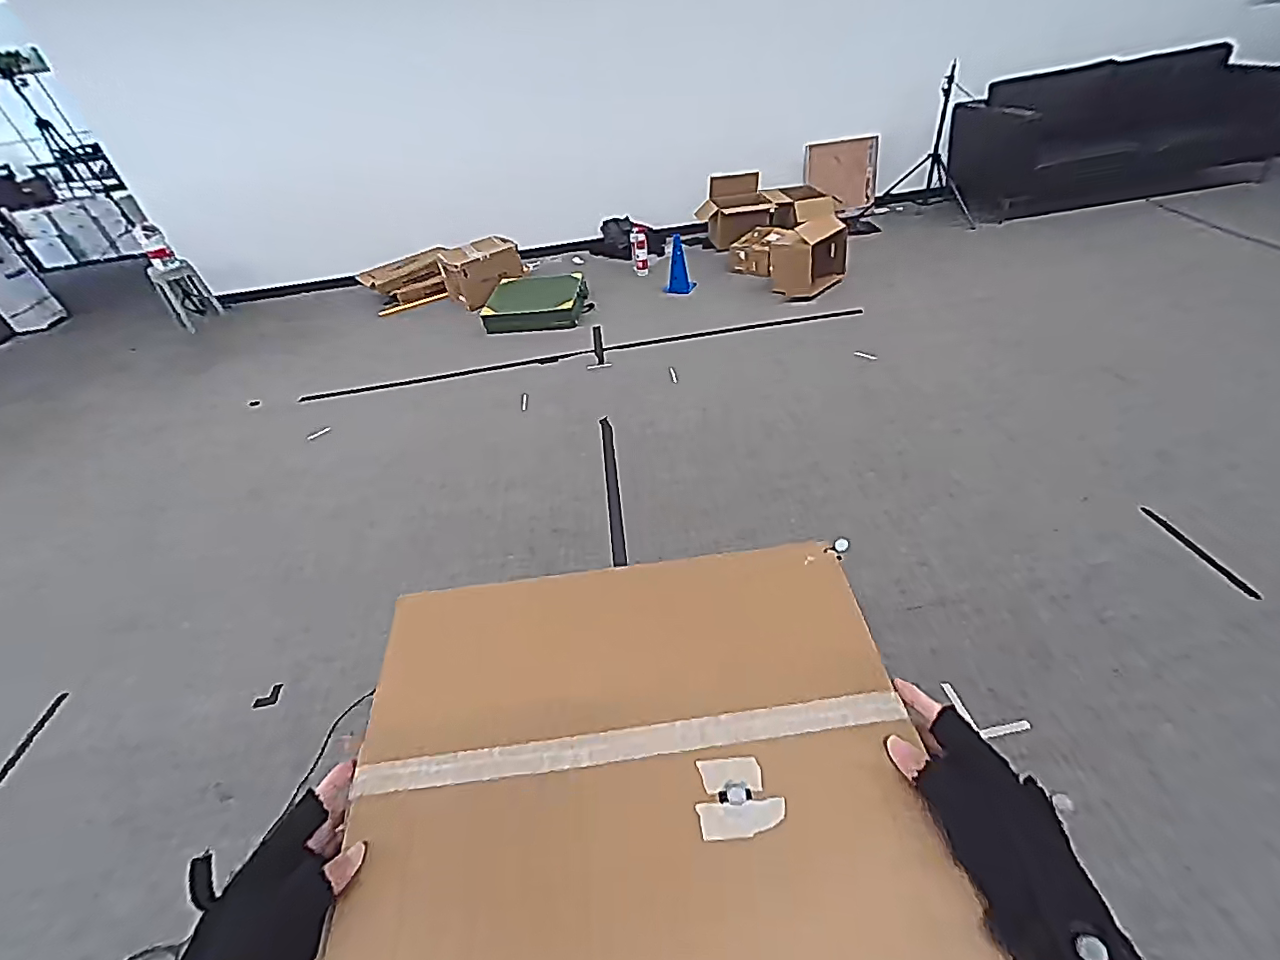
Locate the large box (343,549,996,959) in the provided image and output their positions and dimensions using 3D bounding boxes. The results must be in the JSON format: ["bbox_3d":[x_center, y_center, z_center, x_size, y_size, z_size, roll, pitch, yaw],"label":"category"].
[{"bbox_3d":[0.007,0.302,0.519,0.408,0.320,0.320,-7,47,-2],"label":"large box"}]
